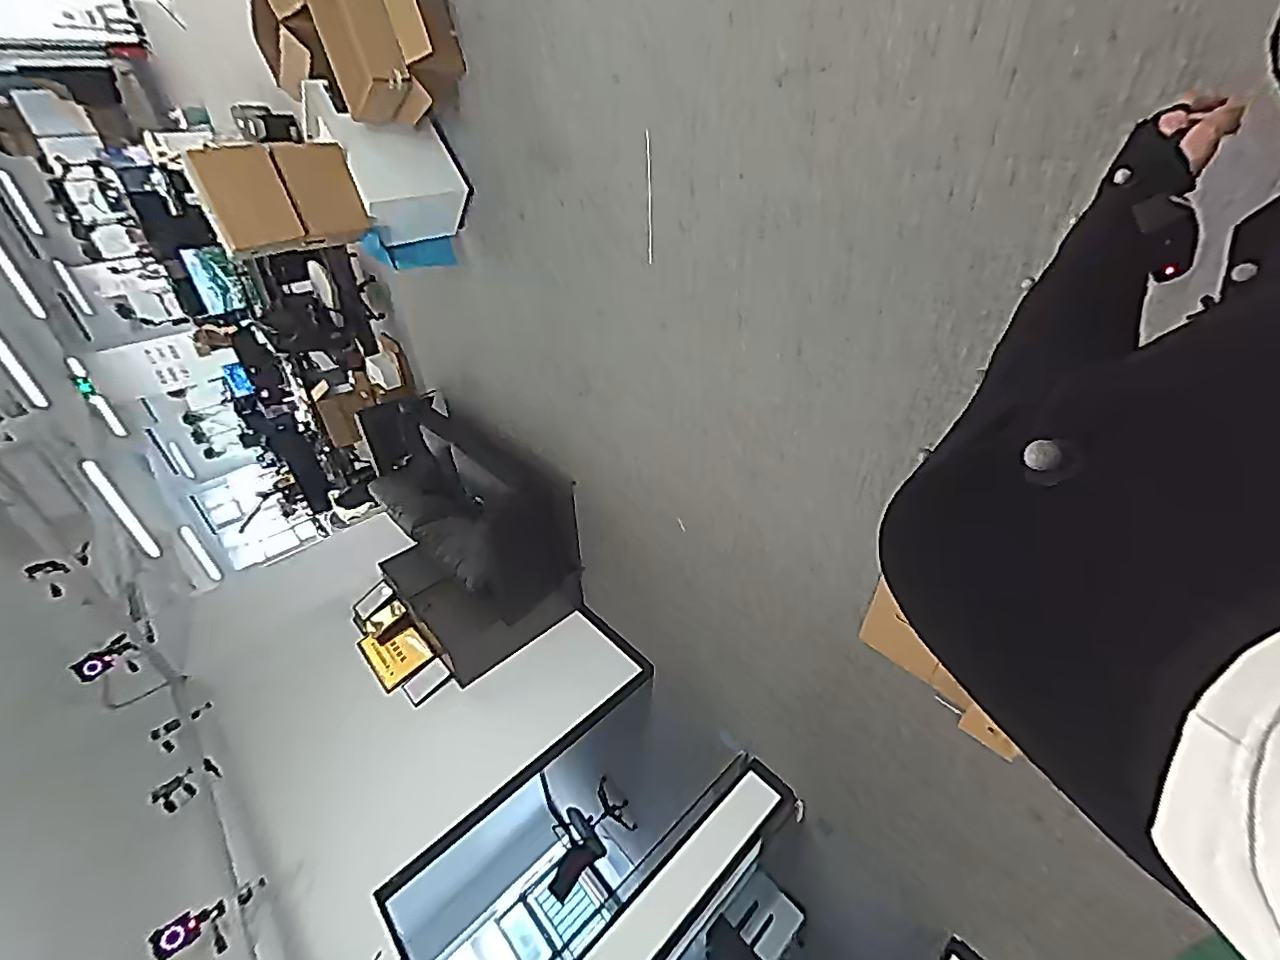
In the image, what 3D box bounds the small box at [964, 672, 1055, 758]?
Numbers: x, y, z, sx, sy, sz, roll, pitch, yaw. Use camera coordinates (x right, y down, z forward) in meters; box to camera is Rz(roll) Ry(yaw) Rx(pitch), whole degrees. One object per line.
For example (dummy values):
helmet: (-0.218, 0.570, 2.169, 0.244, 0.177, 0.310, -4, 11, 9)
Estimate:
small box: (1.226, 0.770, 1.796, 0.179, 0.176, 0.168, 33, 139, 35)
